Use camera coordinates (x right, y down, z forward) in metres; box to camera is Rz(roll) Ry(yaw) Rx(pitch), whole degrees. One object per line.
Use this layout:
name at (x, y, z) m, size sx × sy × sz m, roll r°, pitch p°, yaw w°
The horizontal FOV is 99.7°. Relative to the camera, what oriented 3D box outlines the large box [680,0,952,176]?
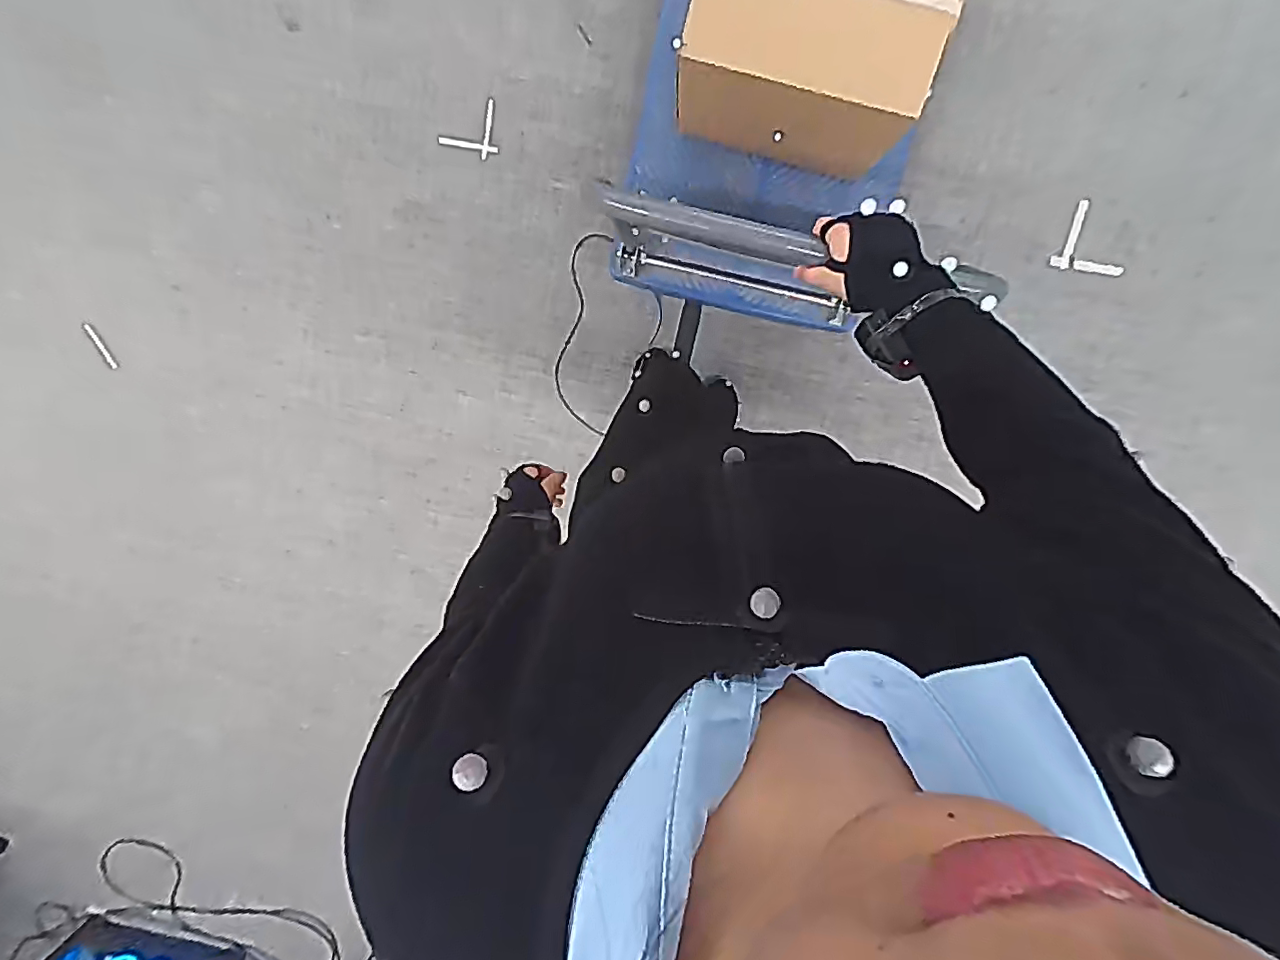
large box at (0.306, -0.814, 0.998) m, size 0.408 × 0.320 × 0.320 m, roll 15°, pitch 101°, yaw 1°
